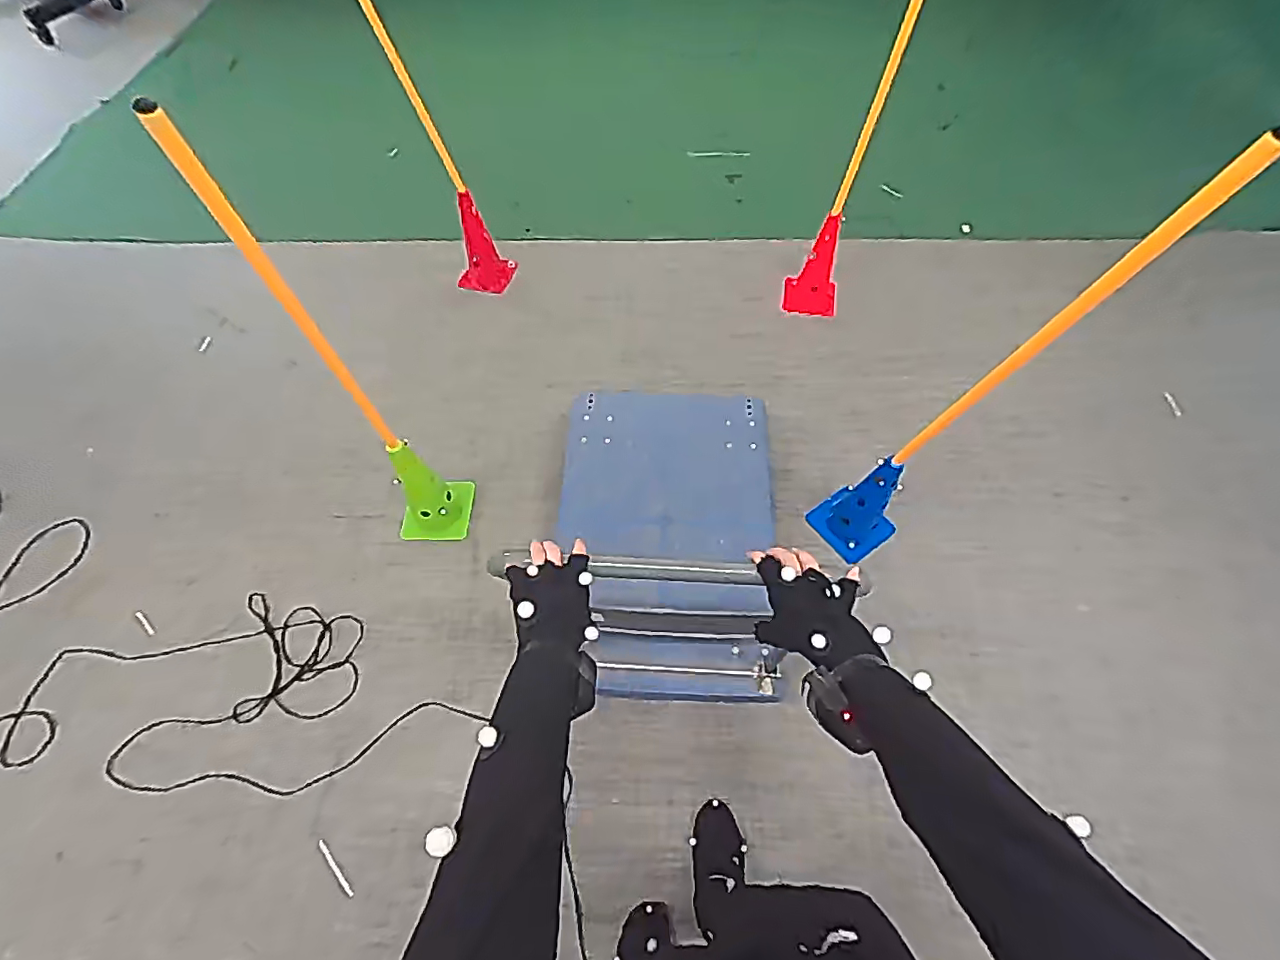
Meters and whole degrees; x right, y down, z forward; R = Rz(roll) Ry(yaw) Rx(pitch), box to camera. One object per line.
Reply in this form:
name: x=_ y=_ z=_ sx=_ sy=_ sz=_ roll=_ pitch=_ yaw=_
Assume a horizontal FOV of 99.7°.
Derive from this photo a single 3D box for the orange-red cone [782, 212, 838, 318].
orange-red cone: x=0.656 y=-0.798 z=1.969 sx=0.198 sy=0.360 sz=0.199 roll=10 pitch=61 yaw=8
